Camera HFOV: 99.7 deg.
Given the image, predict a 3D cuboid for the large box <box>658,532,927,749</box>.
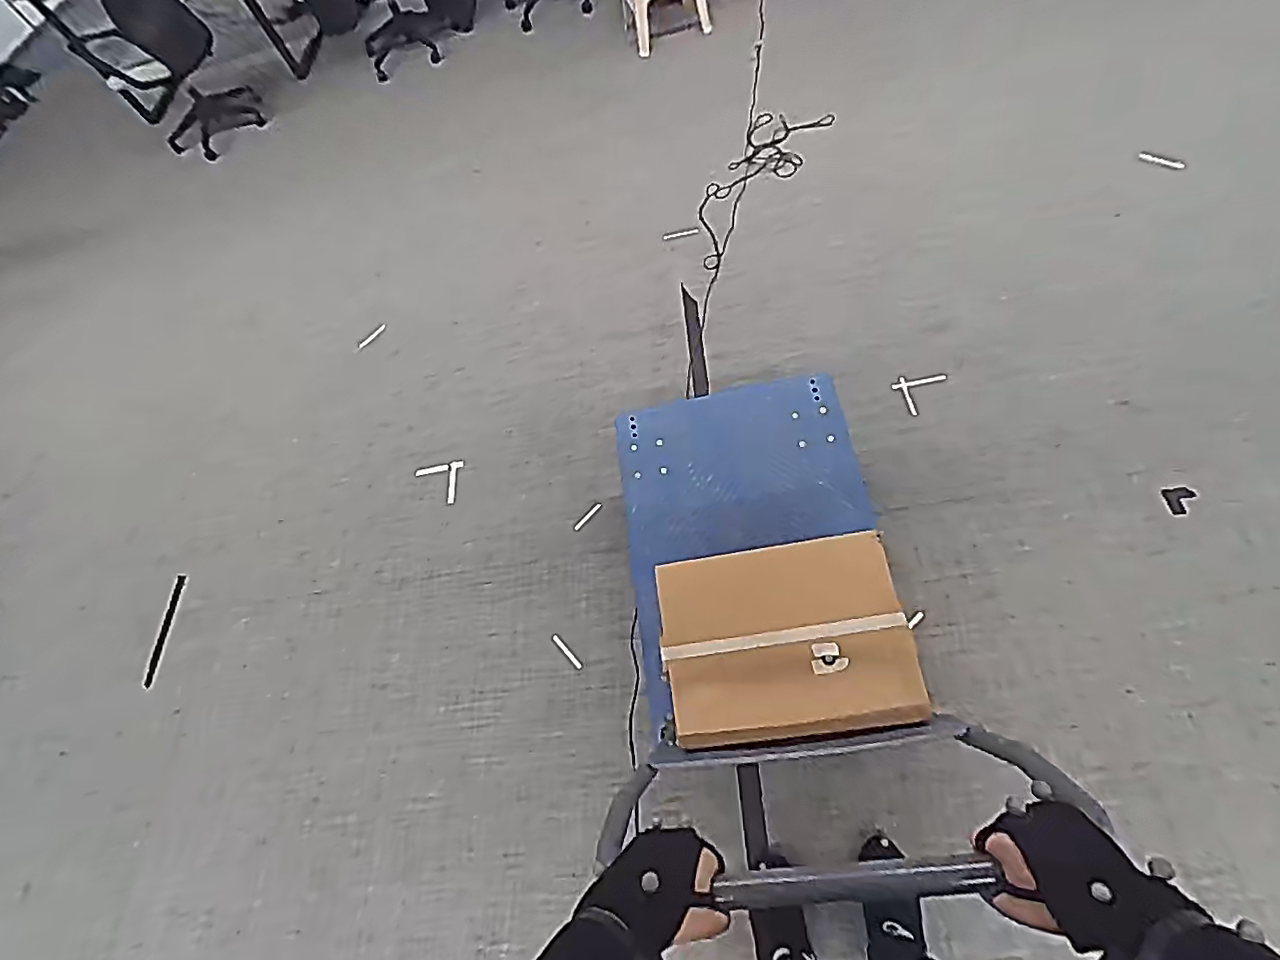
[{"bbox_3d":[0.272,0.325,1.075,0.408,0.320,0.320,-11,68,7],"label":"large box"}]
